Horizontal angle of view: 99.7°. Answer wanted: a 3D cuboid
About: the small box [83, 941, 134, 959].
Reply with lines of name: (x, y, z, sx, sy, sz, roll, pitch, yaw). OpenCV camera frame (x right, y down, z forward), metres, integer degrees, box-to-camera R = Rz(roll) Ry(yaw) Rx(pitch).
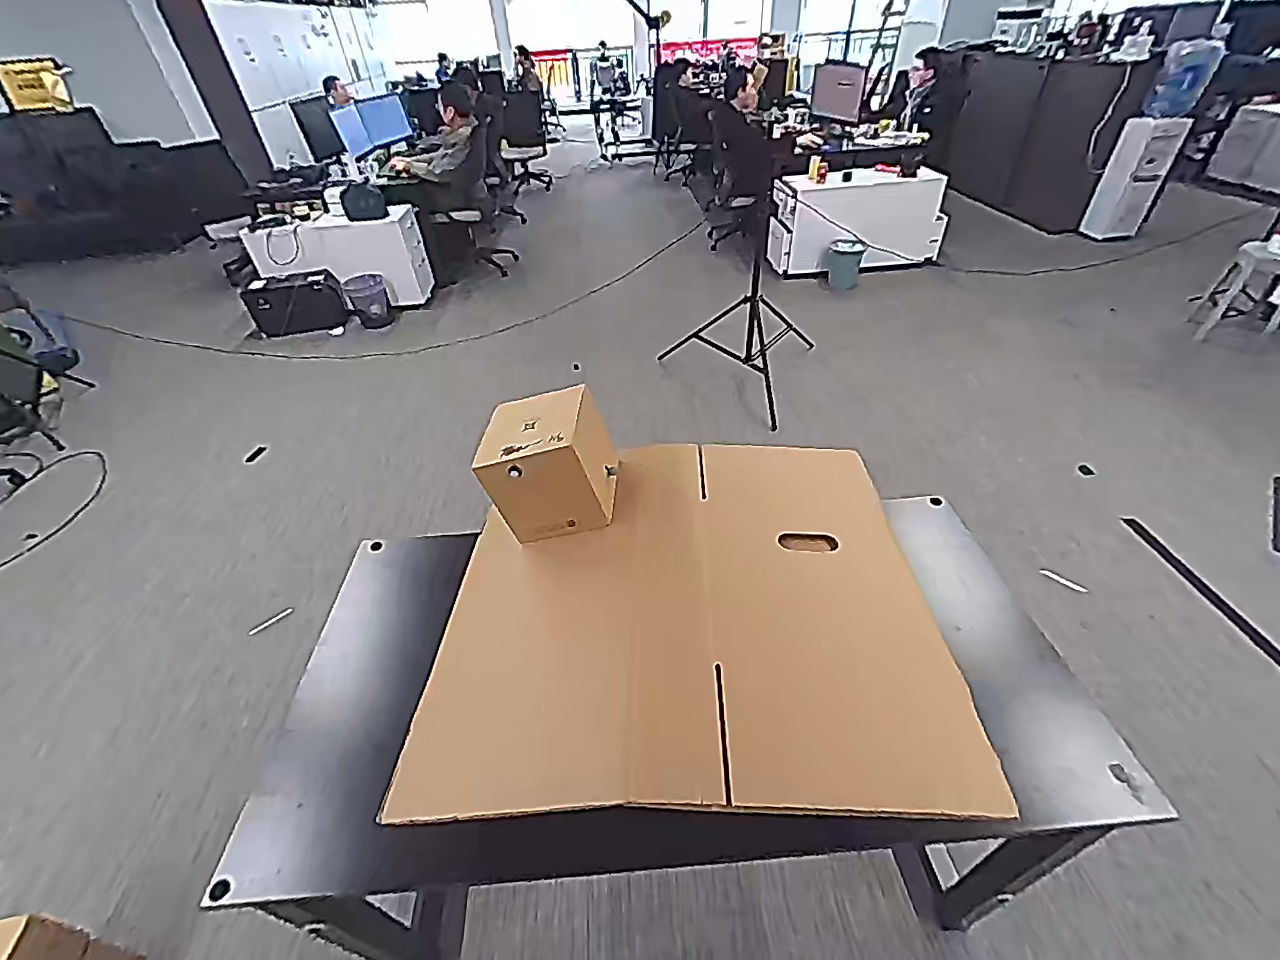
small box: (-1.163, 1.055, 1.071, 0.168, 0.176, 0.179, -7, 41, -4)

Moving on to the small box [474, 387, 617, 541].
small box: (-0.143, -0.025, 0.897, 0.168, 0.176, 0.179, -13, 37, 13)

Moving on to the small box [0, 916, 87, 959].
small box: (-1.174, 0.928, 0.971, 0.168, 0.176, 0.179, -9, 39, -7)
